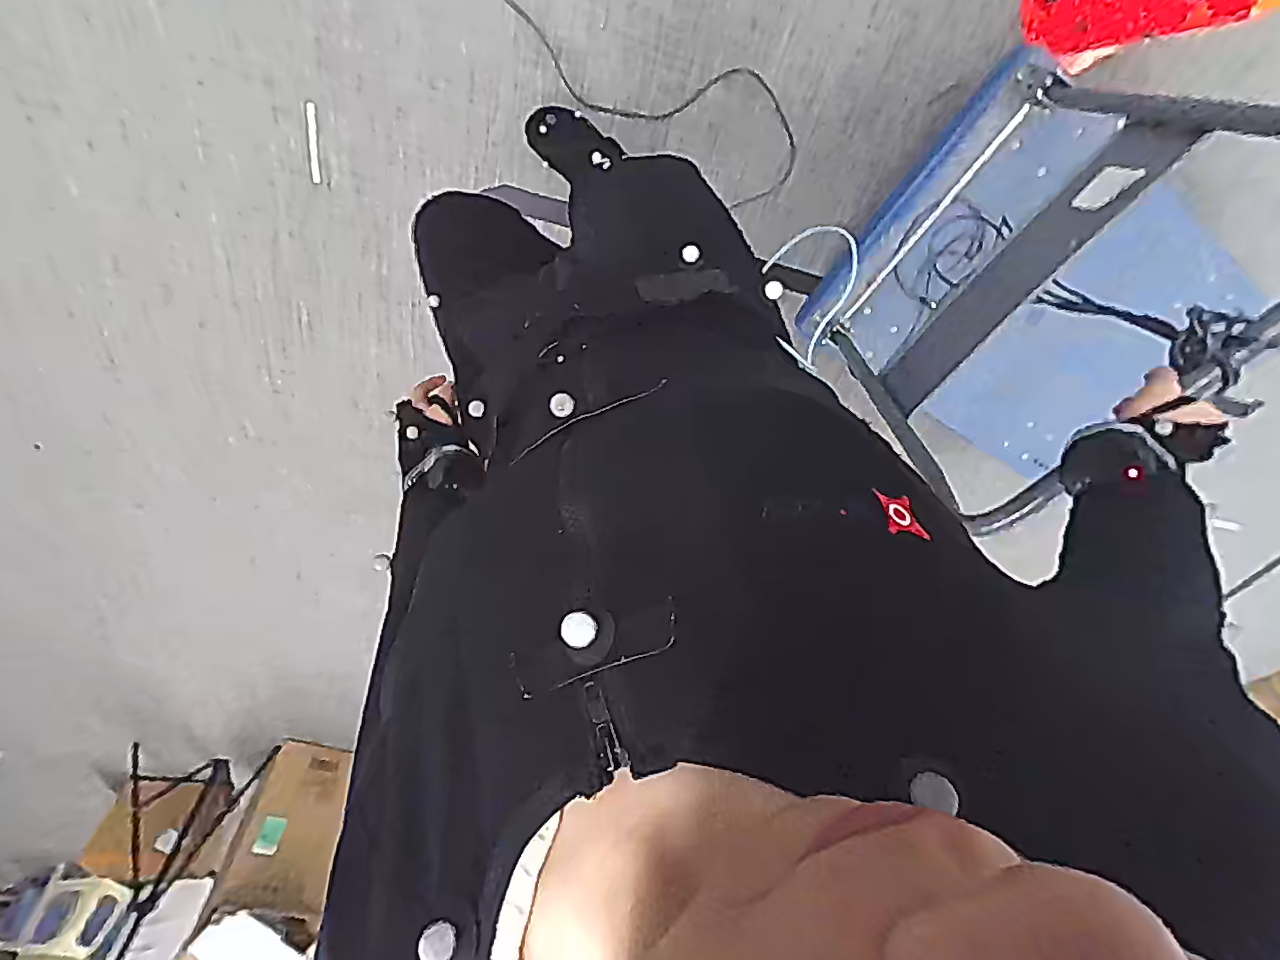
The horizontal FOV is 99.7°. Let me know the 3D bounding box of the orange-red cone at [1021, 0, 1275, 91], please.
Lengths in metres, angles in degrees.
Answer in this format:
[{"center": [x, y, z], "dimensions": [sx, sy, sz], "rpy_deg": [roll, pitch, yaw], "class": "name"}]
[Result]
[{"center": [0.801, -0.737, 0.838], "dimensions": [0.198, 0.360, 0.199], "rpy_deg": [-25, 129, 16], "class": "orange-red cone"}]
